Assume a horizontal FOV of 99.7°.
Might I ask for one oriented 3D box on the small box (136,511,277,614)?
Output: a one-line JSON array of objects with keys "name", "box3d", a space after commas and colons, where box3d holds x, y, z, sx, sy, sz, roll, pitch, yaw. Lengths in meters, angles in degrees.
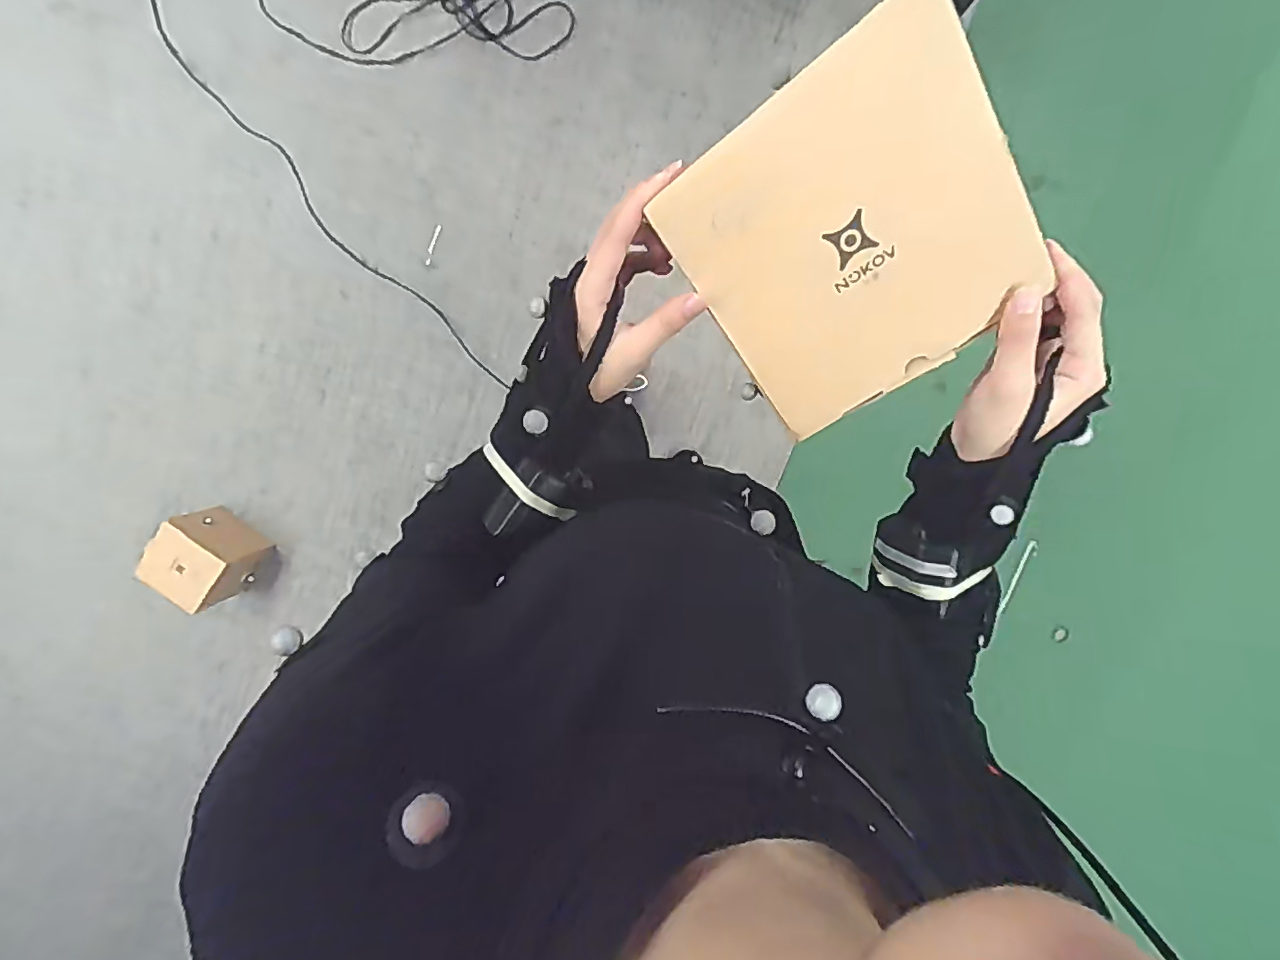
[{"name": "small box", "box3d": [-1.066, 0.193, 1.343, 0.179, 0.176, 0.168, 37, 99, -5]}]
